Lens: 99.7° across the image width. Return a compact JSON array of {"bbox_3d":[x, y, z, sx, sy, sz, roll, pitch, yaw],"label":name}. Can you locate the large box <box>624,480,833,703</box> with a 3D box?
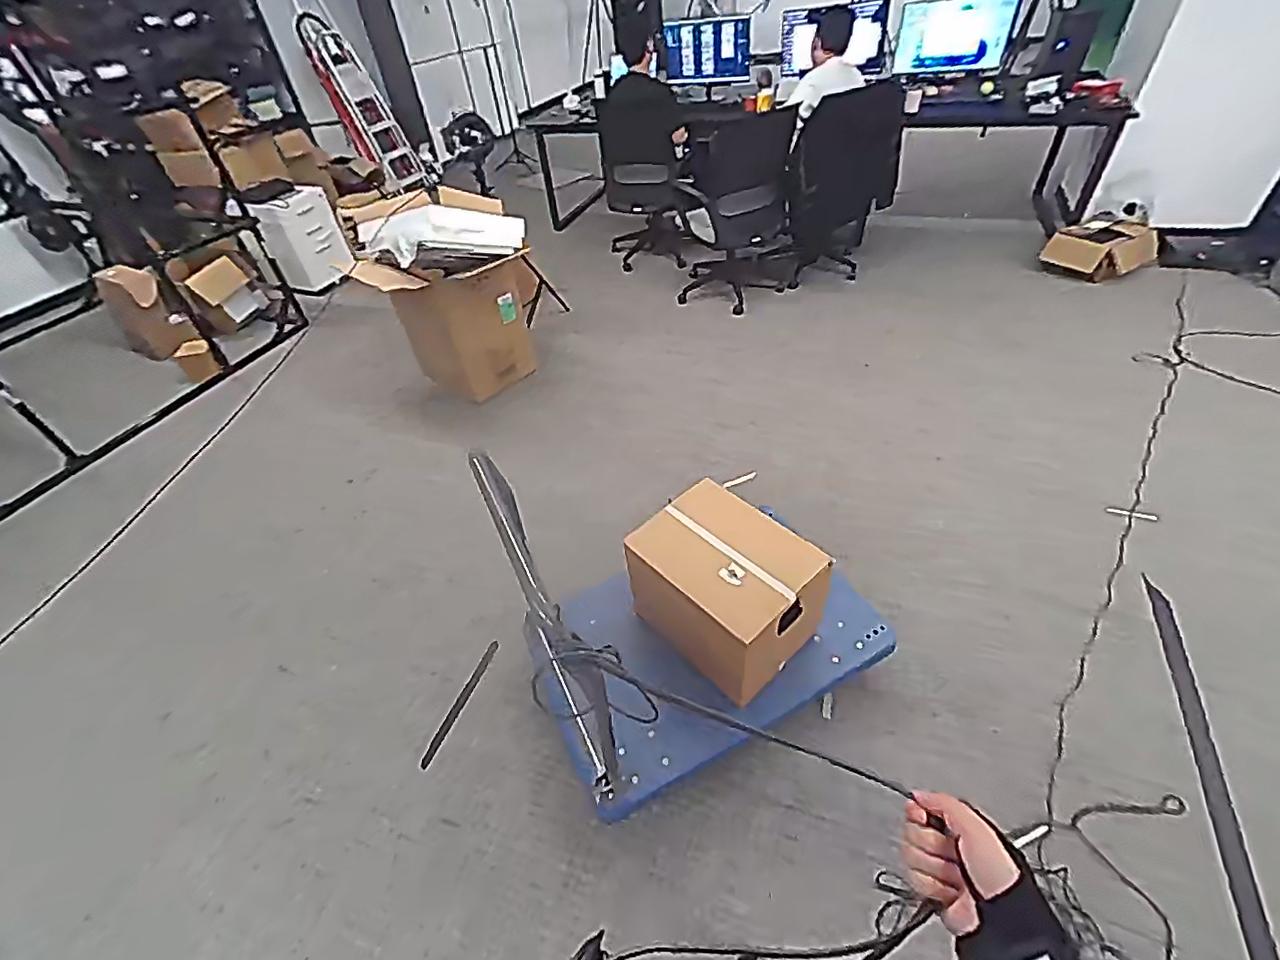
[{"bbox_3d":[0.212,0.273,1.388,0.320,0.320,0.408,-36,52,-25],"label":"large box"}]
